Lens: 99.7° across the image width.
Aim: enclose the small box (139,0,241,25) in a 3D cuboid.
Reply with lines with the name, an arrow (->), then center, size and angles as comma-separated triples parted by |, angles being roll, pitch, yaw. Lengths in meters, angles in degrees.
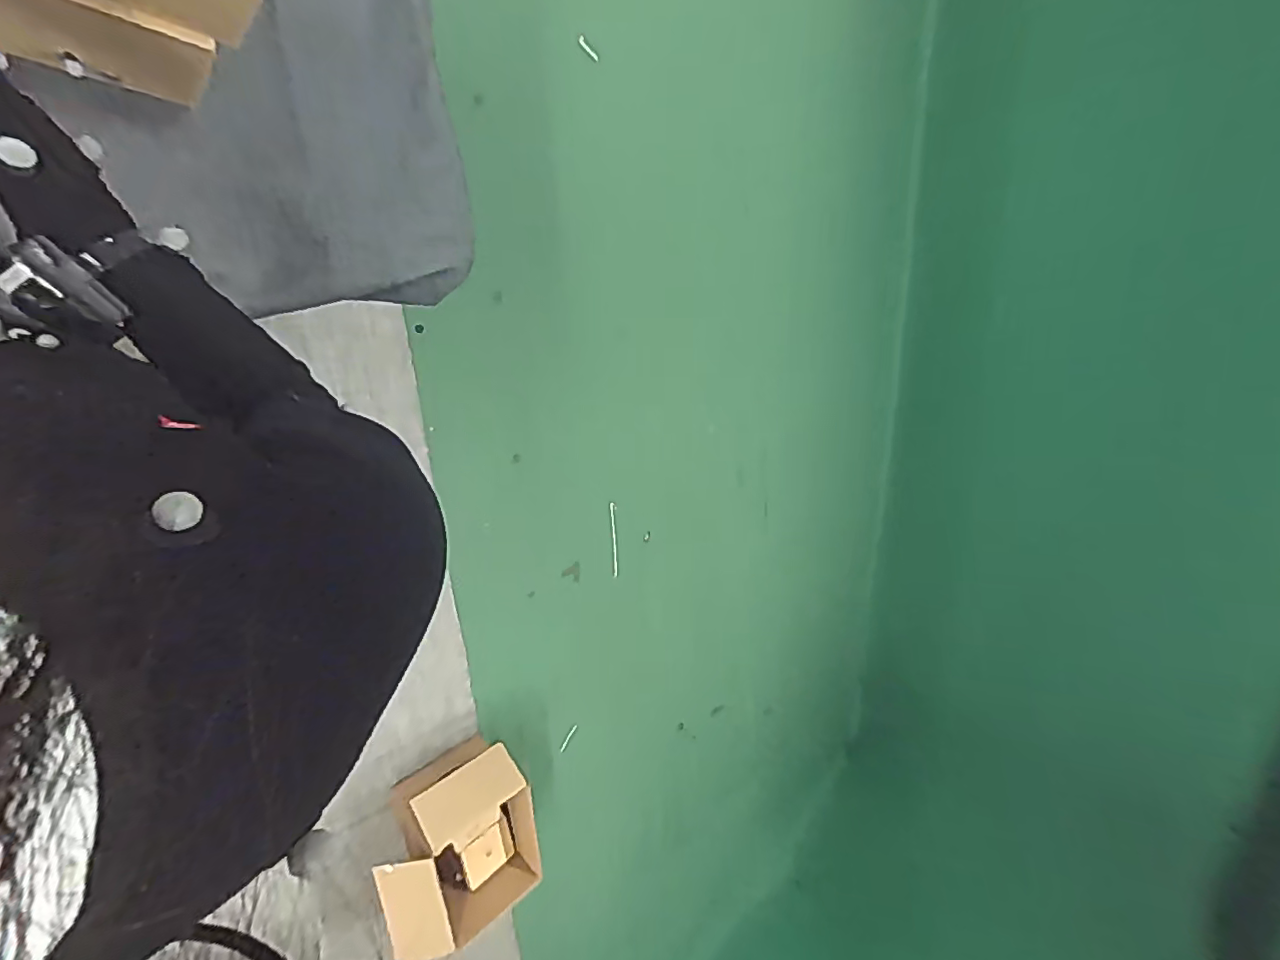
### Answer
small box -> -0.335, -0.421, 0.317 | 0.179, 0.176, 0.168 | -6, 107, -44
